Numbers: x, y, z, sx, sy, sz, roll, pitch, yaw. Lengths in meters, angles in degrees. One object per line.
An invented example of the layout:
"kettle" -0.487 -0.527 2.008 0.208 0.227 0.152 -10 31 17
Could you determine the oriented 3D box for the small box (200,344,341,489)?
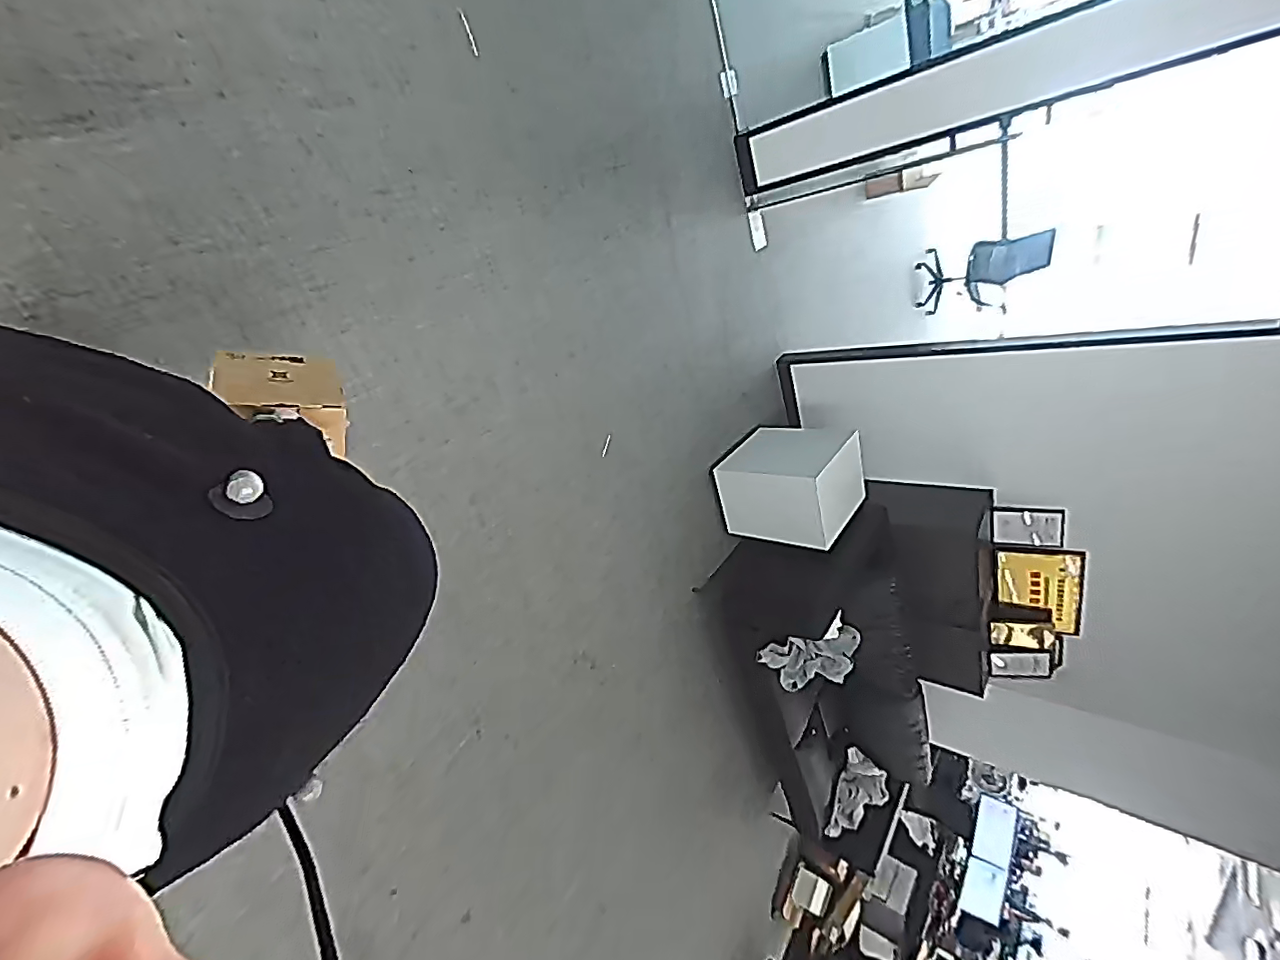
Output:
"small box" -0.577 -0.097 0.853 0.168 0.179 0.176 -6 130 -35
